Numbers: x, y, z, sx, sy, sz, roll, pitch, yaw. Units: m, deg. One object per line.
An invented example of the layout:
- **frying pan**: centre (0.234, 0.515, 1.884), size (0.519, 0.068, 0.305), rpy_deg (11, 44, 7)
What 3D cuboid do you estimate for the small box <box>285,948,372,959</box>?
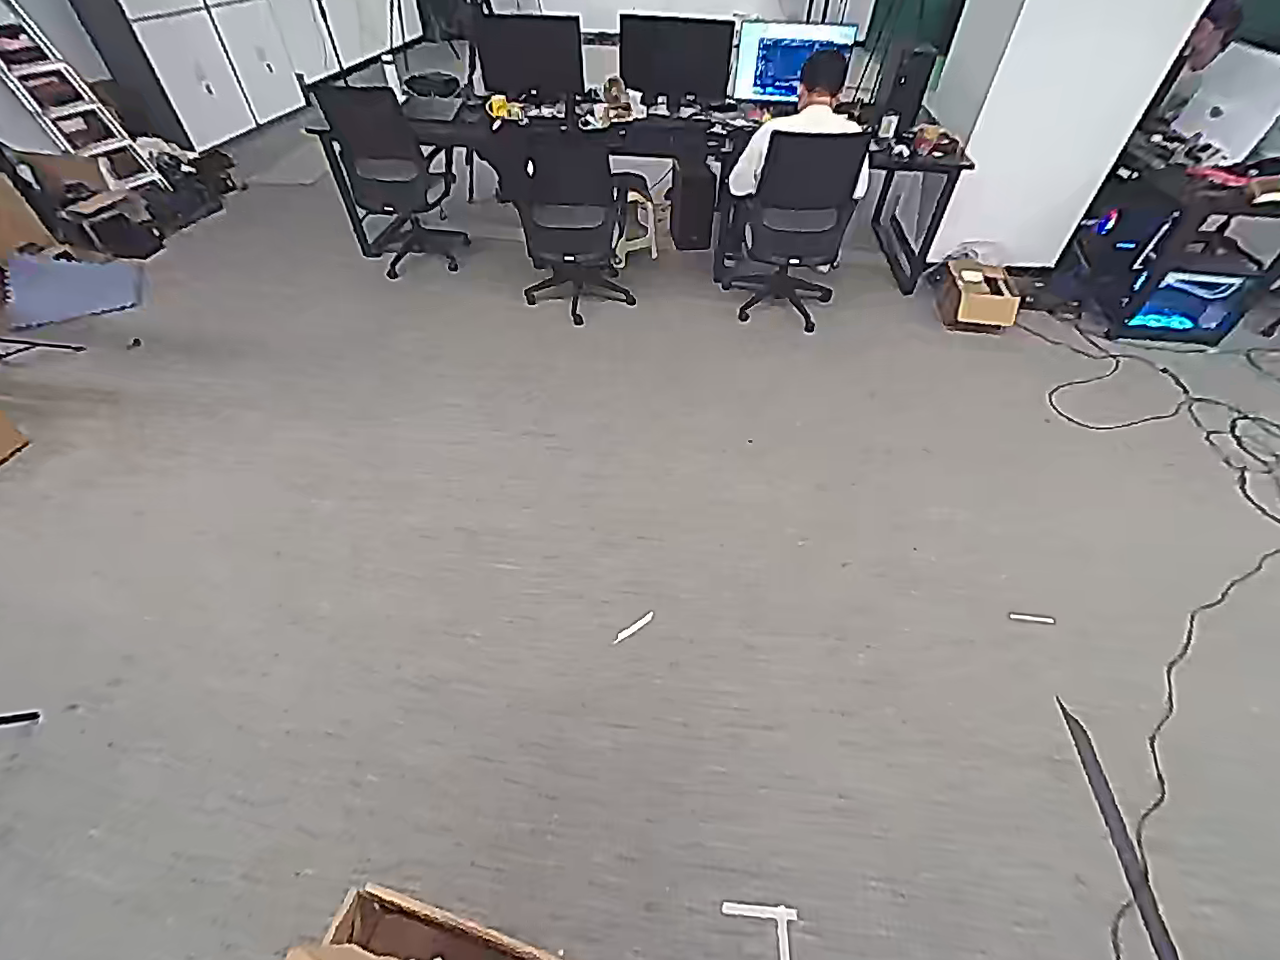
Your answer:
- **small box**: centre (-0.287, 0.587, 0.514), size (0.179, 0.176, 0.168), rpy_deg (17, 51, 12)
